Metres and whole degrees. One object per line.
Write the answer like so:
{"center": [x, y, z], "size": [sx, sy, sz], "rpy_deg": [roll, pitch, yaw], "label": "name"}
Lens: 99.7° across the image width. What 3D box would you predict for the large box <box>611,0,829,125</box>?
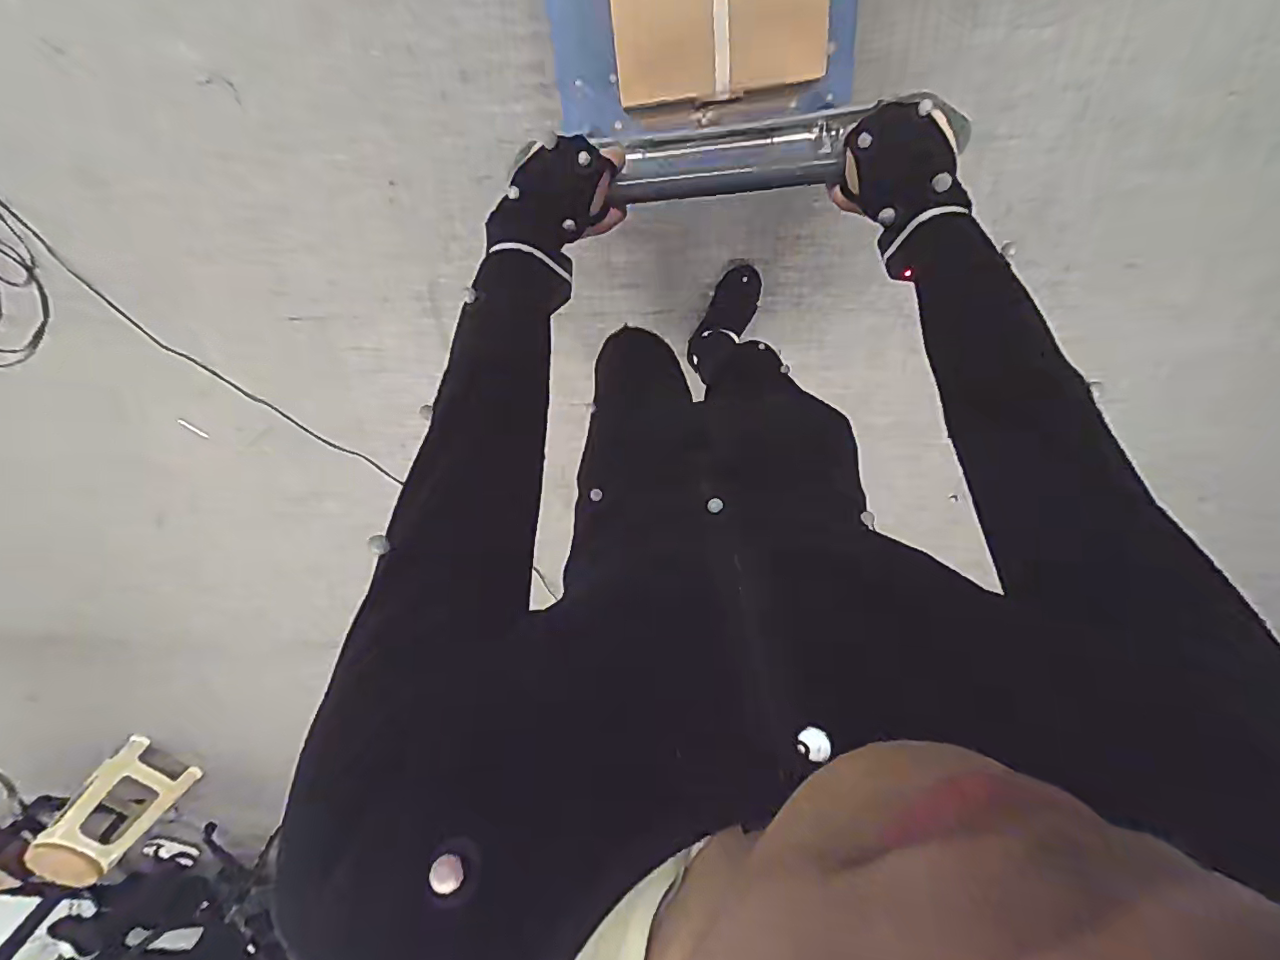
{"center": [0.116, -0.845, 0.869], "size": [0.320, 0.320, 0.408], "rpy_deg": [-4, 117, 7], "label": "large box"}
